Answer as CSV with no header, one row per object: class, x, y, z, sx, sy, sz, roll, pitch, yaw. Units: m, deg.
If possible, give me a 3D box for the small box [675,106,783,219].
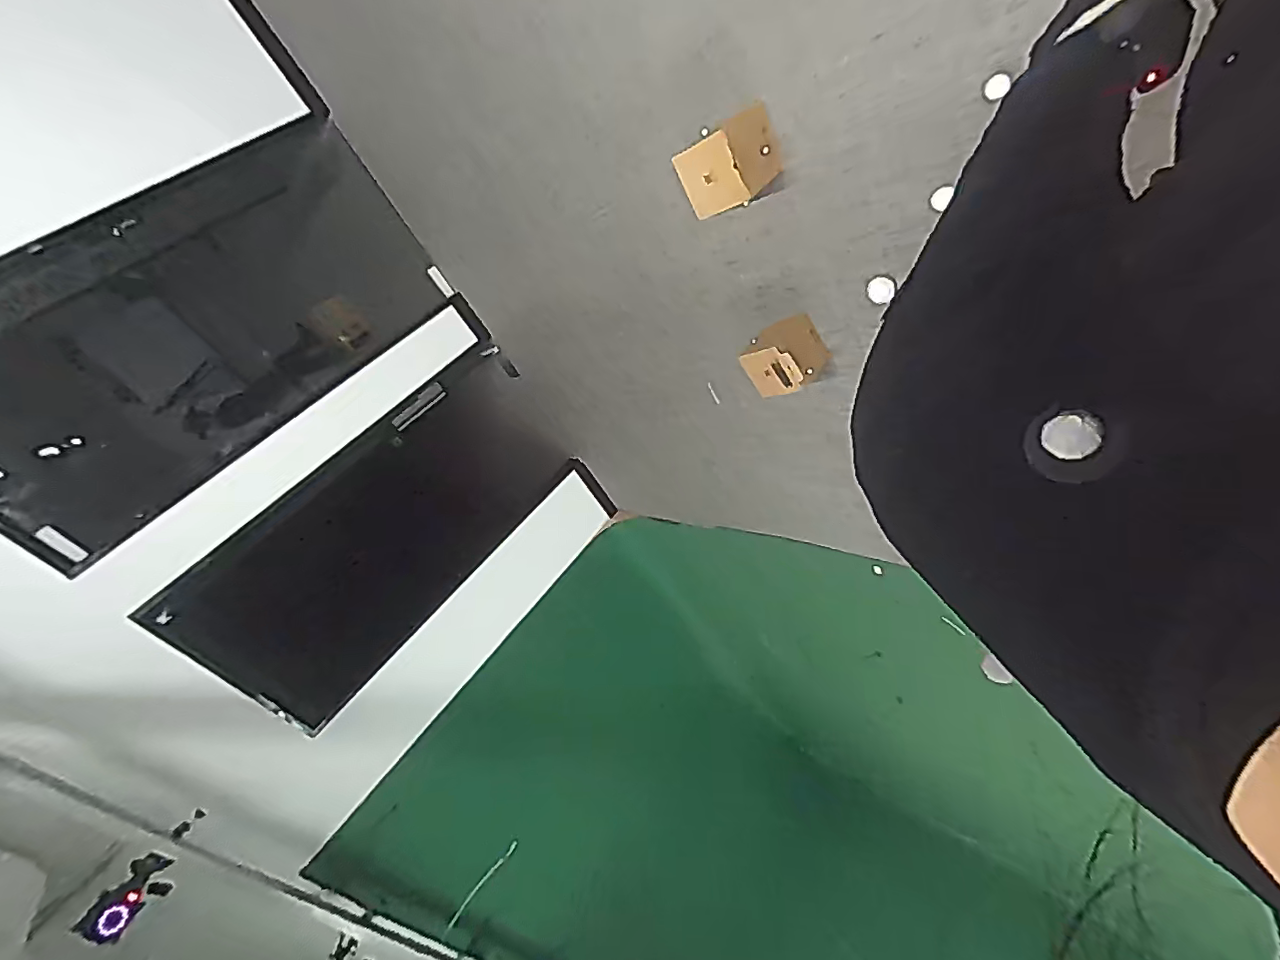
small box,0.226,-0.793,1.357,0.179,0.176,0.168,6,137,51
